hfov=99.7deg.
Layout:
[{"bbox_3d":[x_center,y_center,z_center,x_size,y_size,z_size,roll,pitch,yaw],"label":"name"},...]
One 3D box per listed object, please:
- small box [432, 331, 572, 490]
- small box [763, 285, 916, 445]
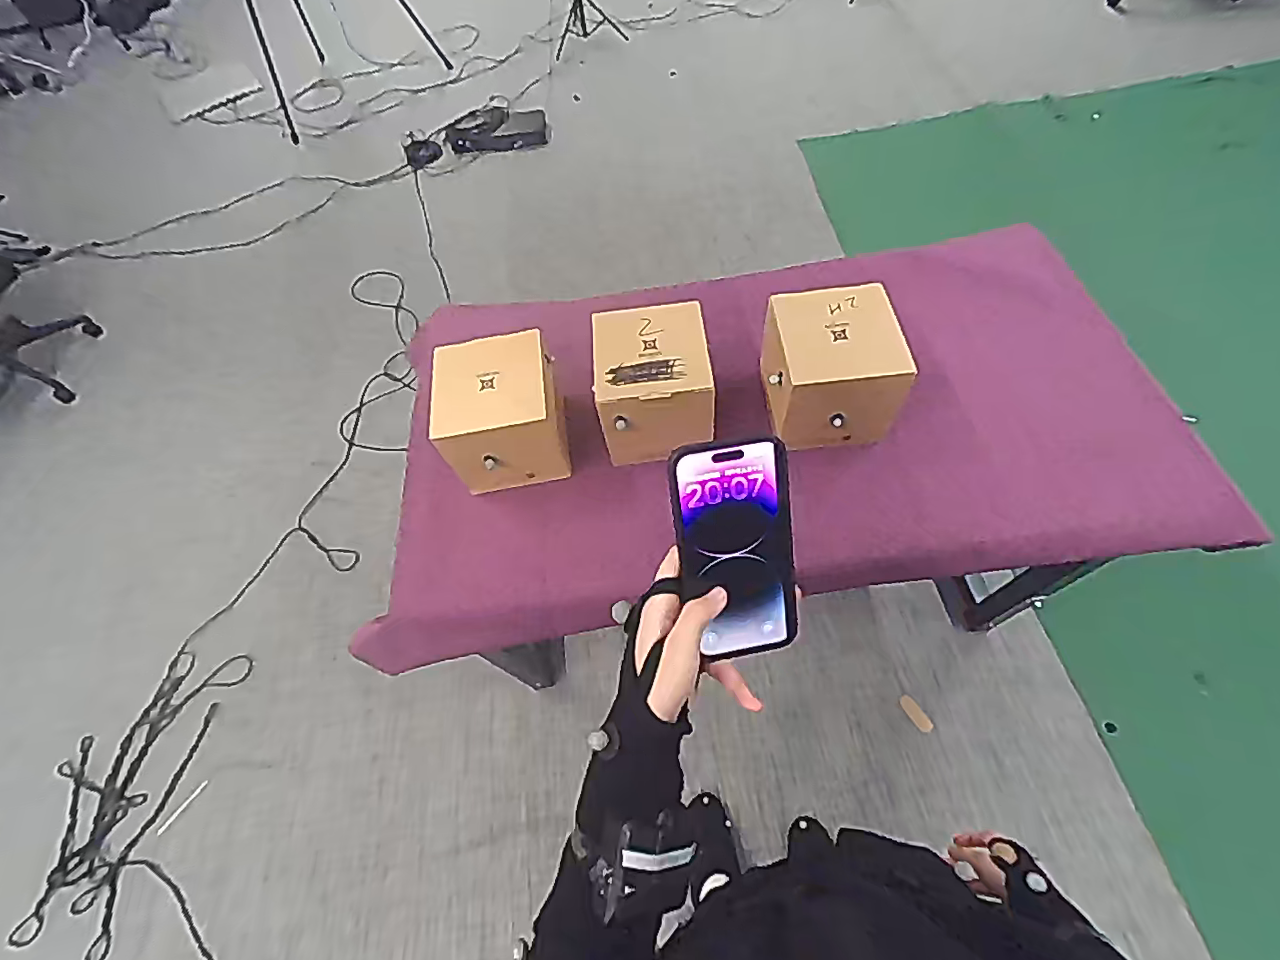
[{"bbox_3d":[-0.208,-0.098,0.846,0.168,0.176,0.179,-11,58,1],"label":"small box"},{"bbox_3d":[0.288,-0.165,0.823,0.168,0.176,0.179,-5,59,3],"label":"small box"}]
